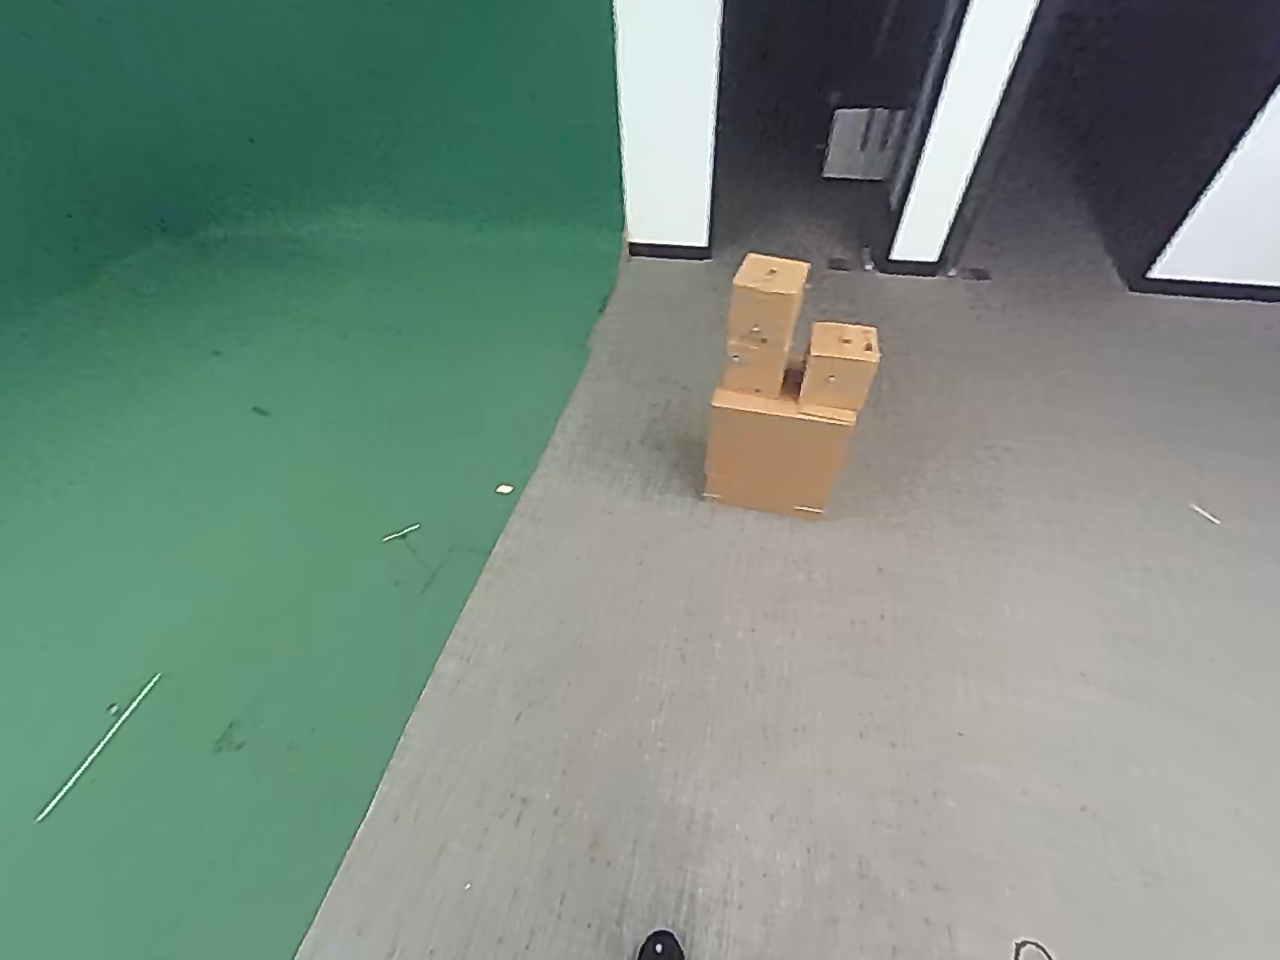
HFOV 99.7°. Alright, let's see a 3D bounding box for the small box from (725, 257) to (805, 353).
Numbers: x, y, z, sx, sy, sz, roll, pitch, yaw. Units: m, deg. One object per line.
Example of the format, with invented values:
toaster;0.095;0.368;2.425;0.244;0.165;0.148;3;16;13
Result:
small box;0.335;-0.474;1.464;0.168;0.176;0.179;16;52;16
